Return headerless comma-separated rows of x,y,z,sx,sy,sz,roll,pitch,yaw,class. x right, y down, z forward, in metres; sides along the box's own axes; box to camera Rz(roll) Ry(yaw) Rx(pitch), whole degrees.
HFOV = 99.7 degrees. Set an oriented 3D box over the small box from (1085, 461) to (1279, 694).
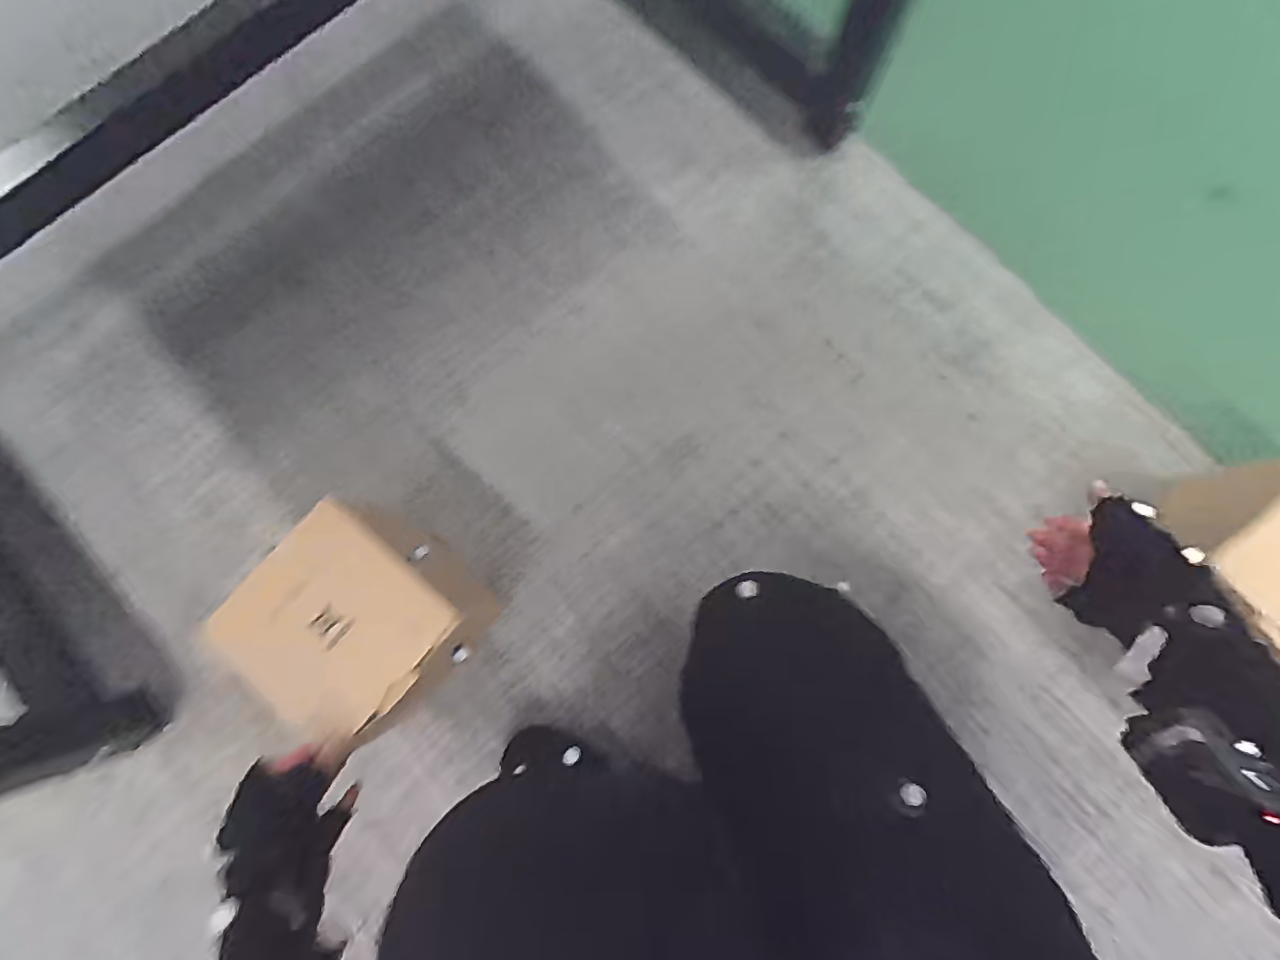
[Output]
0.618,0.101,0.555,0.179,0.176,0.168,-36,82,-4,small box
